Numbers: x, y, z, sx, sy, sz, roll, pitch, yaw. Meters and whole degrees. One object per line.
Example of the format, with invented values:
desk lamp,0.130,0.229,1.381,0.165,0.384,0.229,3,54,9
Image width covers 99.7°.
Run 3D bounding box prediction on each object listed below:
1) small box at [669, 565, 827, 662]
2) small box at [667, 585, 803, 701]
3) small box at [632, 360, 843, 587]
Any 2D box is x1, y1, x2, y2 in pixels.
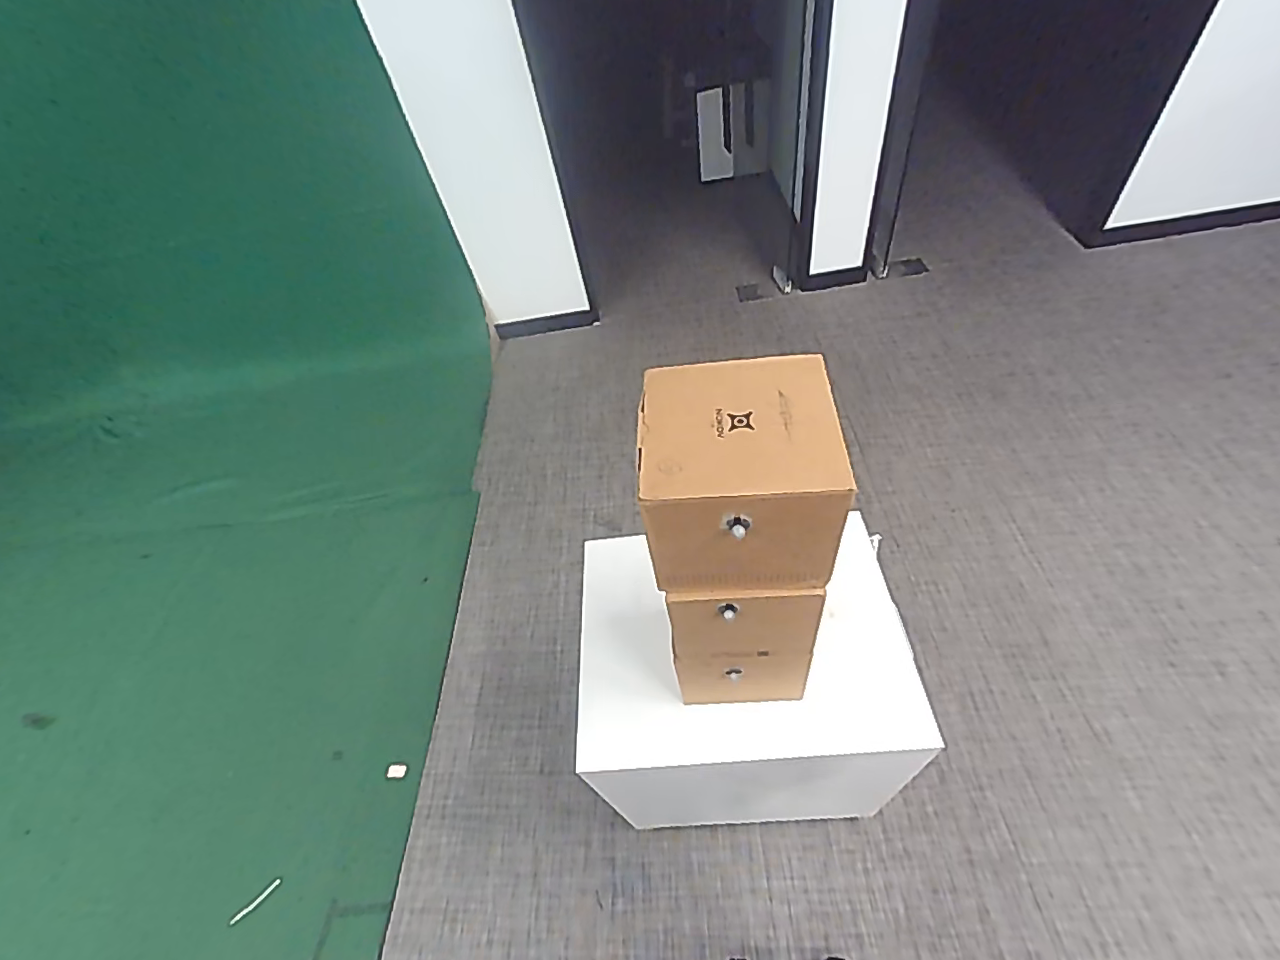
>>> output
small box,0.120,0.109,0.676,0.168,0.176,0.179,-5,50,5
small box,0.137,0.215,0.796,0.179,0.176,0.168,-5,49,7
small box,0.094,0.000,0.555,0.179,0.176,0.168,-3,52,7
